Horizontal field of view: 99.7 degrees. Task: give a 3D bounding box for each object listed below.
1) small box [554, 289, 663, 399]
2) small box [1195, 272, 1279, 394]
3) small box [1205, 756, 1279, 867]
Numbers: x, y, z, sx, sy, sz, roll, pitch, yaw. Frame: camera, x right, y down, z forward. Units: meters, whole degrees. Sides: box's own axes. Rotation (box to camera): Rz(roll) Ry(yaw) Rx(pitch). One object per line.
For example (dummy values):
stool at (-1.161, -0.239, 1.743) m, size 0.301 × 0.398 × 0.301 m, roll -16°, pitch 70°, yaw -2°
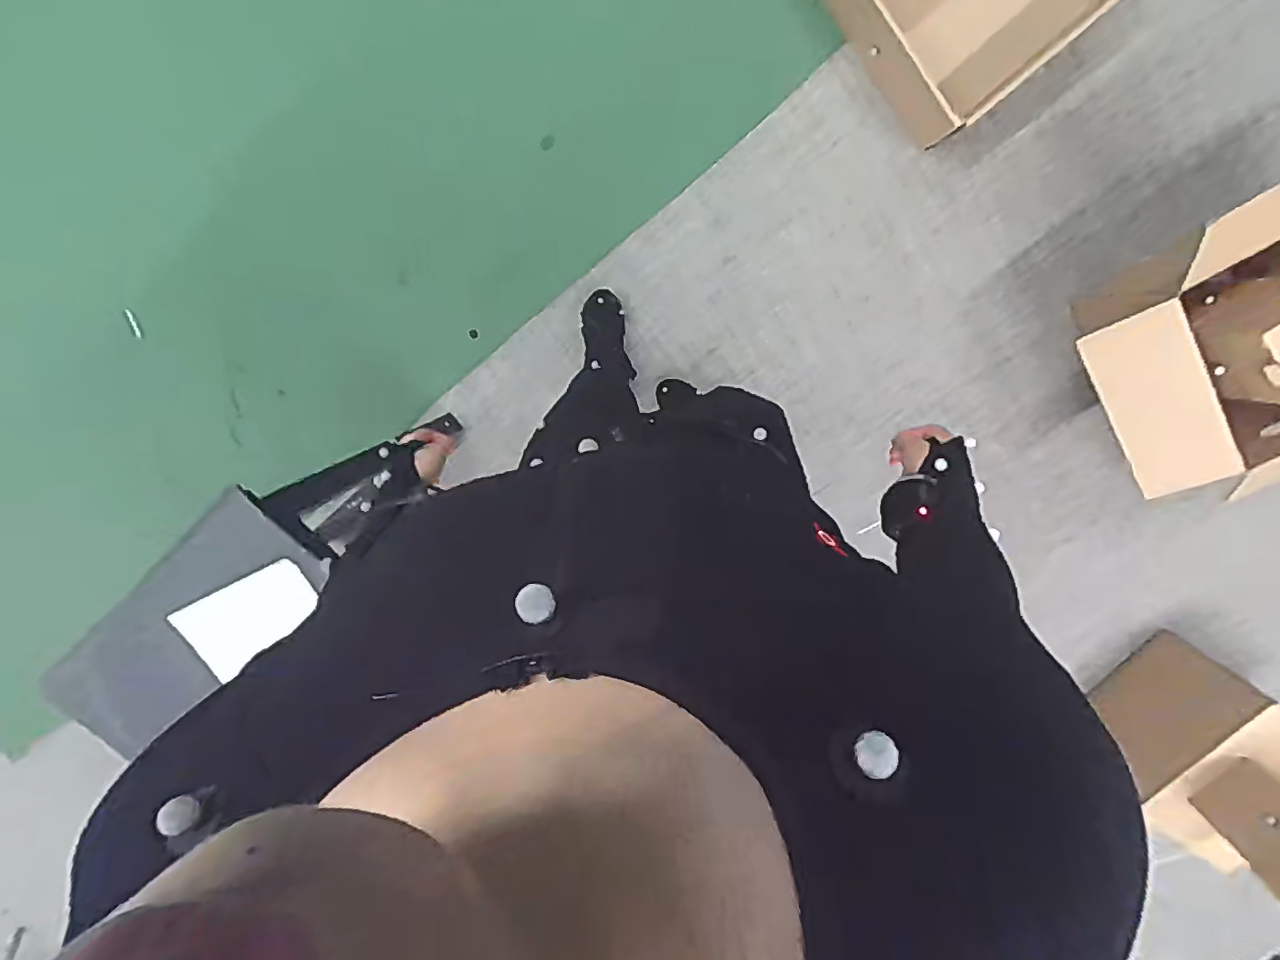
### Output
small box at (-0.067, -0.327, 1.296) m, size 0.179 × 0.168 × 0.176 m, roll -49°, pitch 129°, yaw -5°
small box at (1.229, -0.281, 1.013) m, size 0.179 × 0.176 × 0.168 m, roll -38°, pitch 98°, yaw 15°
small box at (1.434, 0.754, 1.189) m, size 0.168 × 0.176 × 0.179 m, roll 34°, pitch 107°, yaw -4°
